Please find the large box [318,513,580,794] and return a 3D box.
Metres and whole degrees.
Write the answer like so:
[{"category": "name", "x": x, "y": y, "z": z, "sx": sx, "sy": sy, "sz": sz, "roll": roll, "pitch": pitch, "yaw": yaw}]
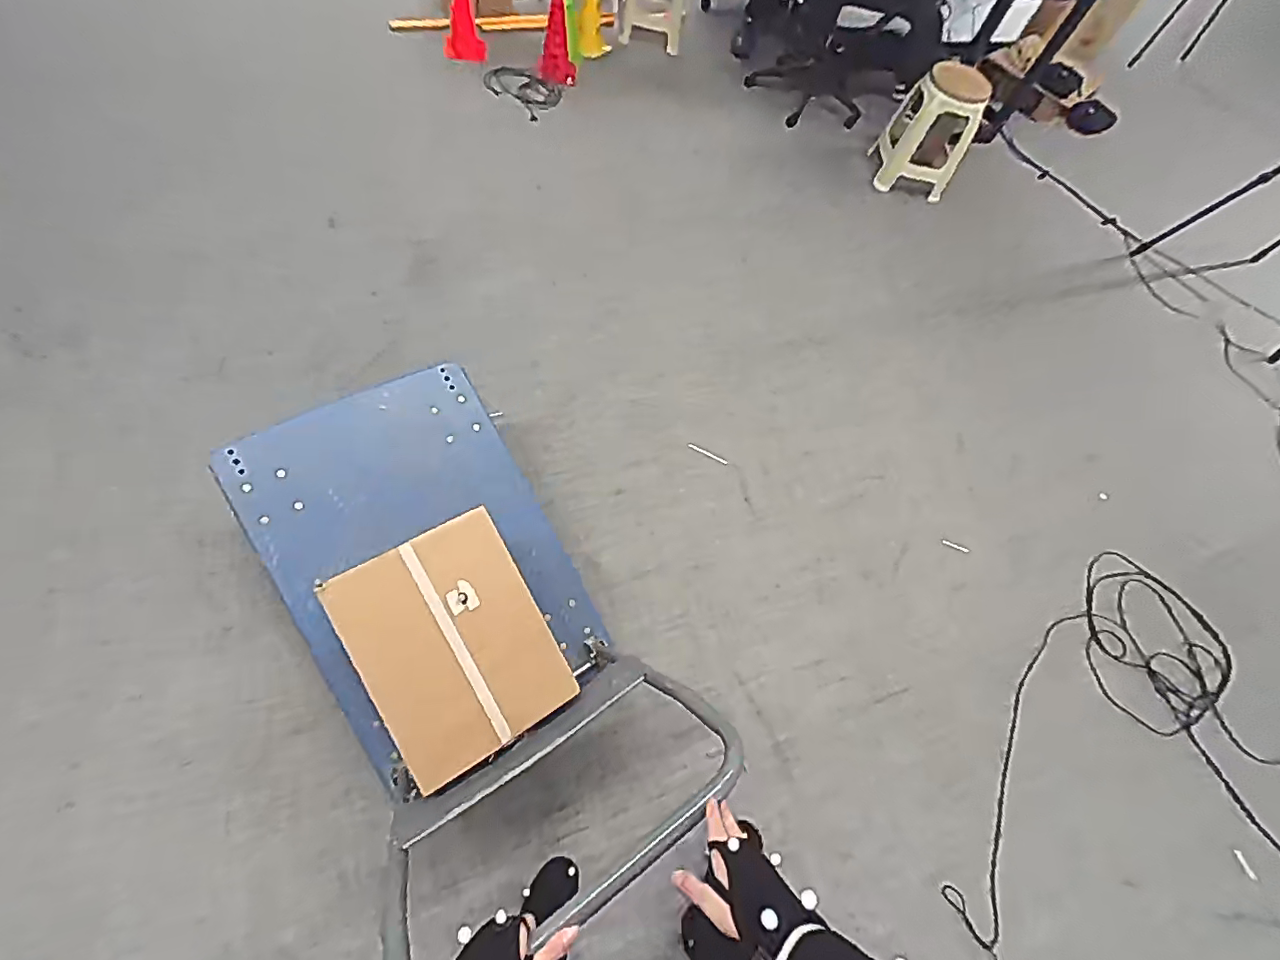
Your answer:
[{"category": "large box", "x": -0.378, "y": 0.328, "z": 1.112, "sx": 0.320, "sy": 0.320, "sz": 0.408, "roll": -29, "pitch": 89, "yaw": -23}]
